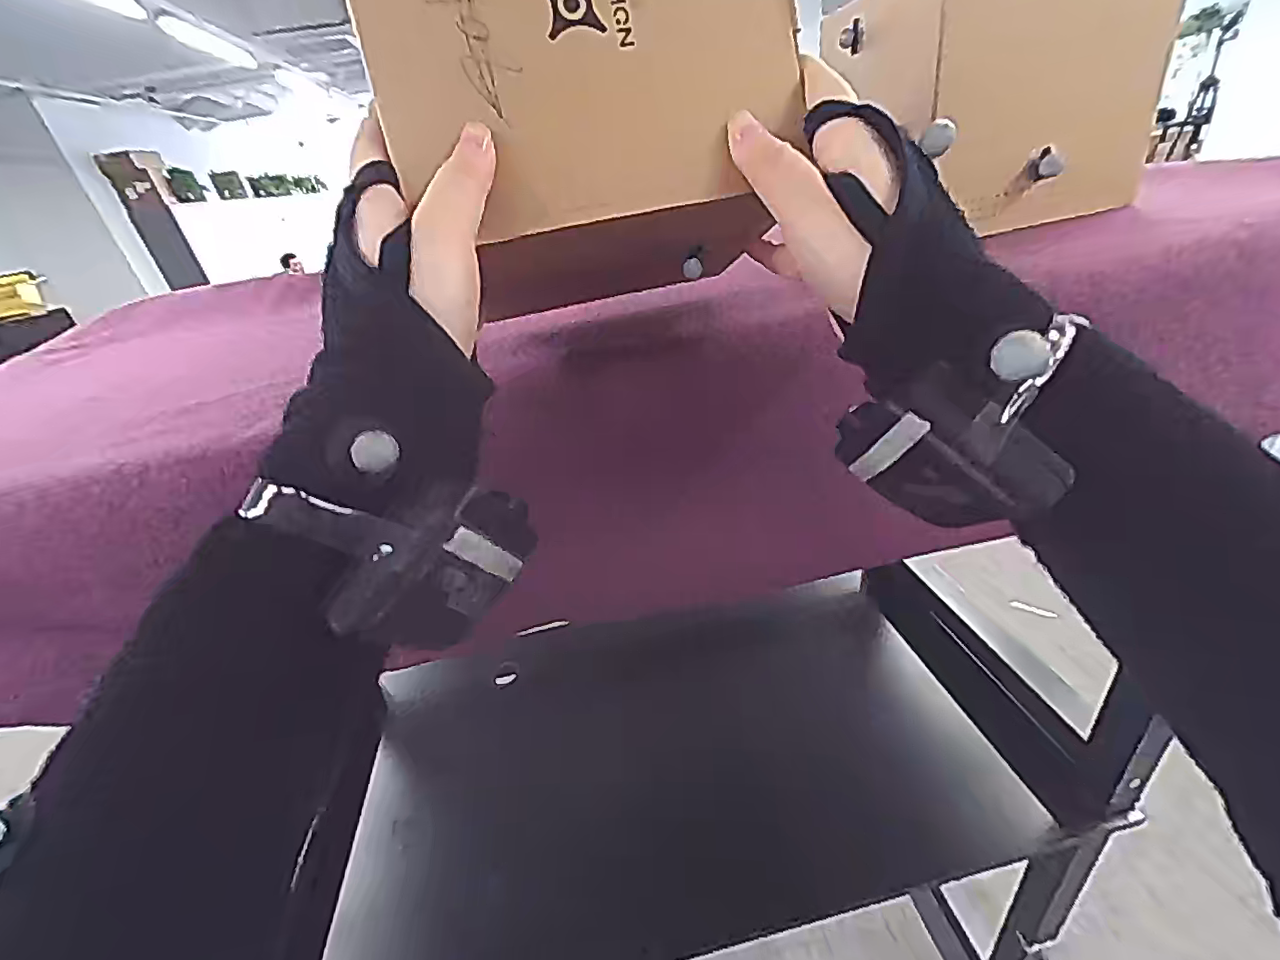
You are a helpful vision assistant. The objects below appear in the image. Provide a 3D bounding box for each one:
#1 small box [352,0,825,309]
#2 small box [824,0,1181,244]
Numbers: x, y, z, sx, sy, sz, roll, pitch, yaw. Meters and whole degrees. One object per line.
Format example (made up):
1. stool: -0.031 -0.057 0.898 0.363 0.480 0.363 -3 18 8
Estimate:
1. small box: -0.032 -0.200 0.285 0.179 0.168 0.176 -13 9 -5
2. small box: 0.261 -0.298 0.428 0.179 0.176 0.168 -13 29 -4
